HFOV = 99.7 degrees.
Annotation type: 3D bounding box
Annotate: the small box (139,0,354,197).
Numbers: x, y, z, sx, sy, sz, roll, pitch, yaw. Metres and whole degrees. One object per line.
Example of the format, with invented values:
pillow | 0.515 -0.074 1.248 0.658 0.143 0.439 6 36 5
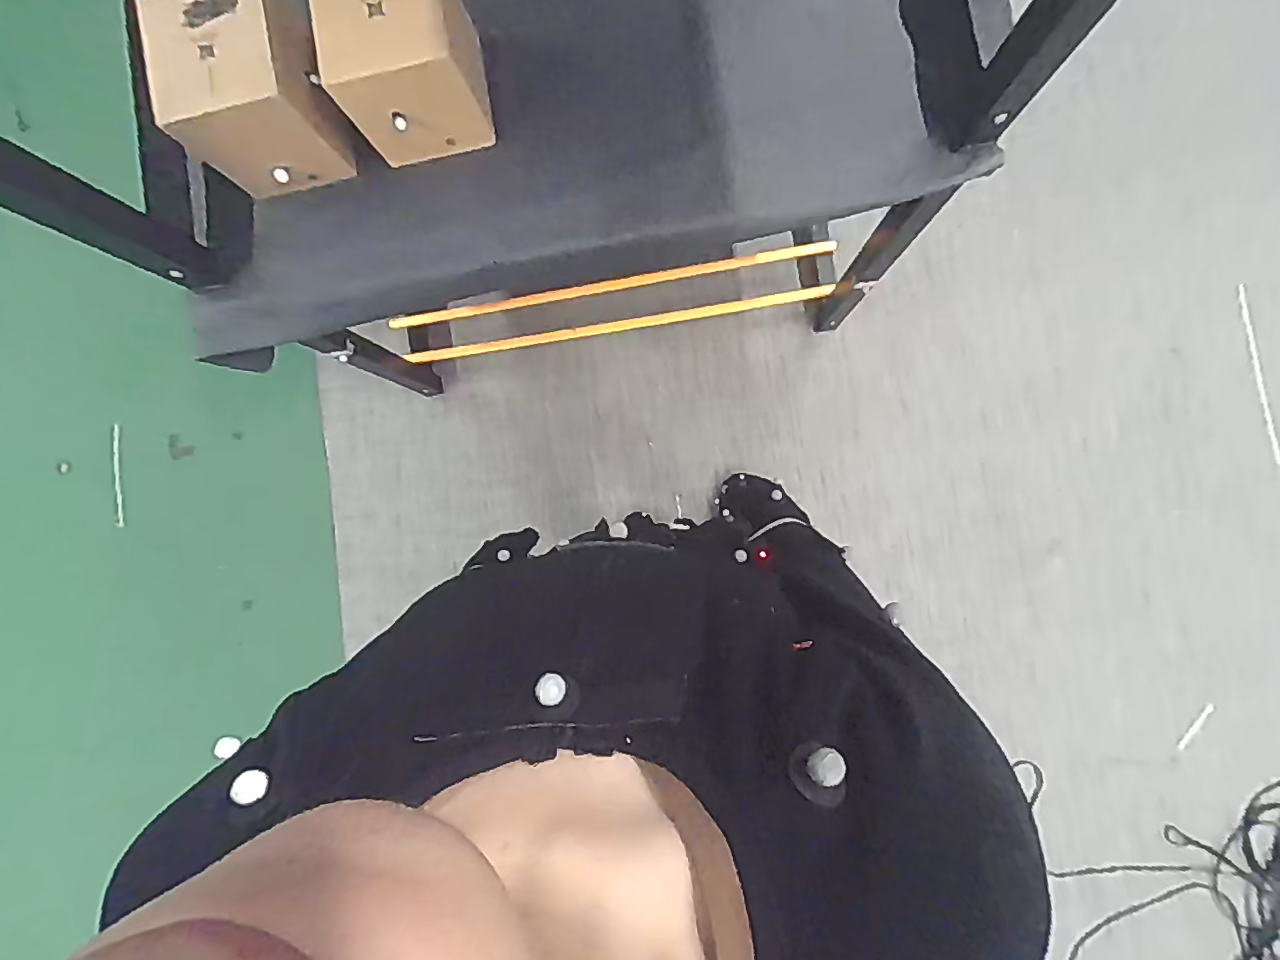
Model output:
small box | -0.531 -0.535 0.750 0.168 0.176 0.179 -11 87 4
